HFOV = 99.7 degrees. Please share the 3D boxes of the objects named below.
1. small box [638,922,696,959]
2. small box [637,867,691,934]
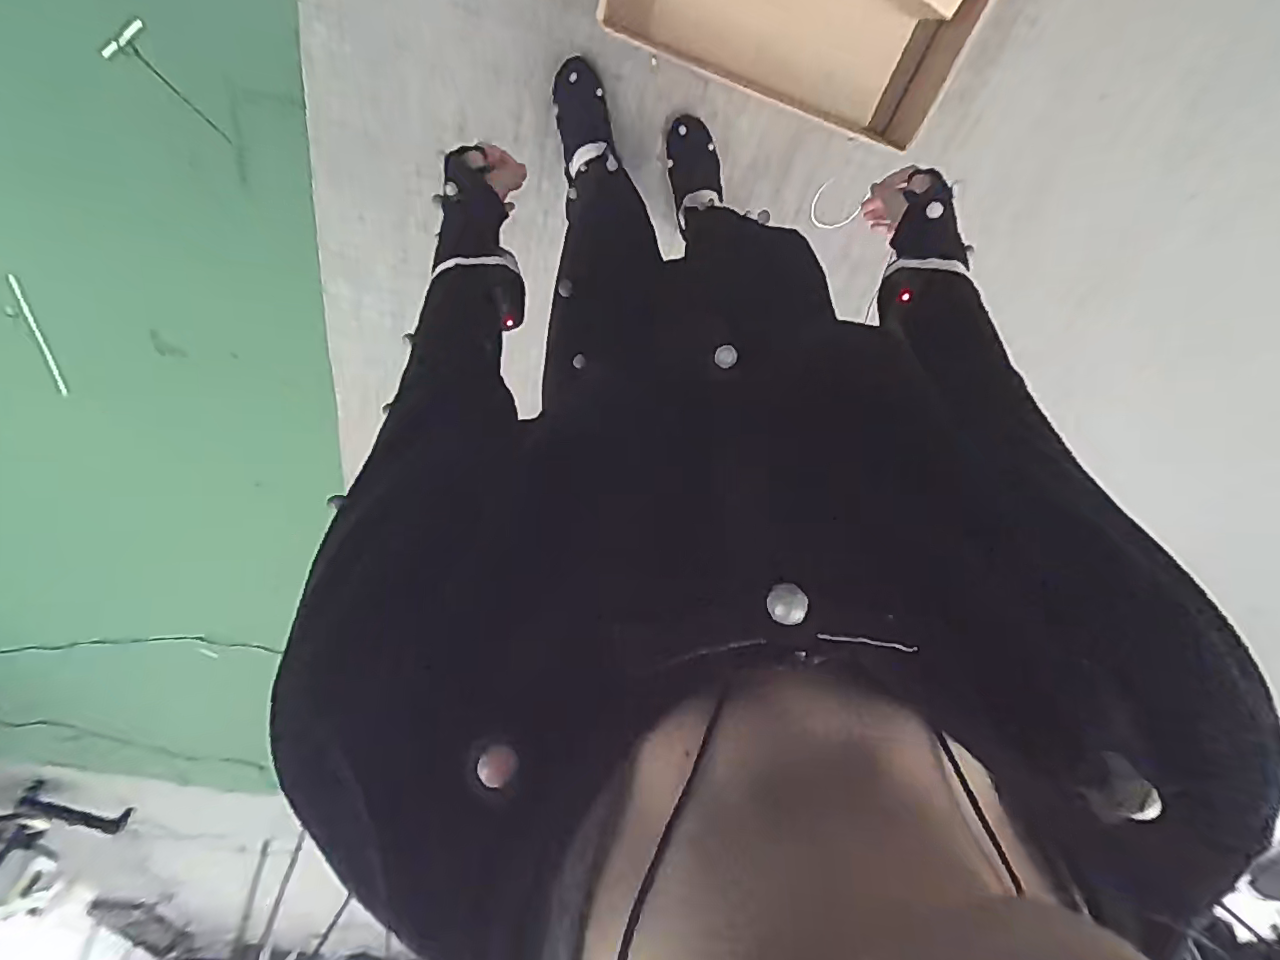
[{"bbox_3d":[0.089,1.651,1.865,0.179,0.176,0.168,9,129,-5],"label":"small box"},{"bbox_3d":[0.085,1.565,2.007,0.168,0.176,0.179,9,130,-4],"label":"small box"}]
